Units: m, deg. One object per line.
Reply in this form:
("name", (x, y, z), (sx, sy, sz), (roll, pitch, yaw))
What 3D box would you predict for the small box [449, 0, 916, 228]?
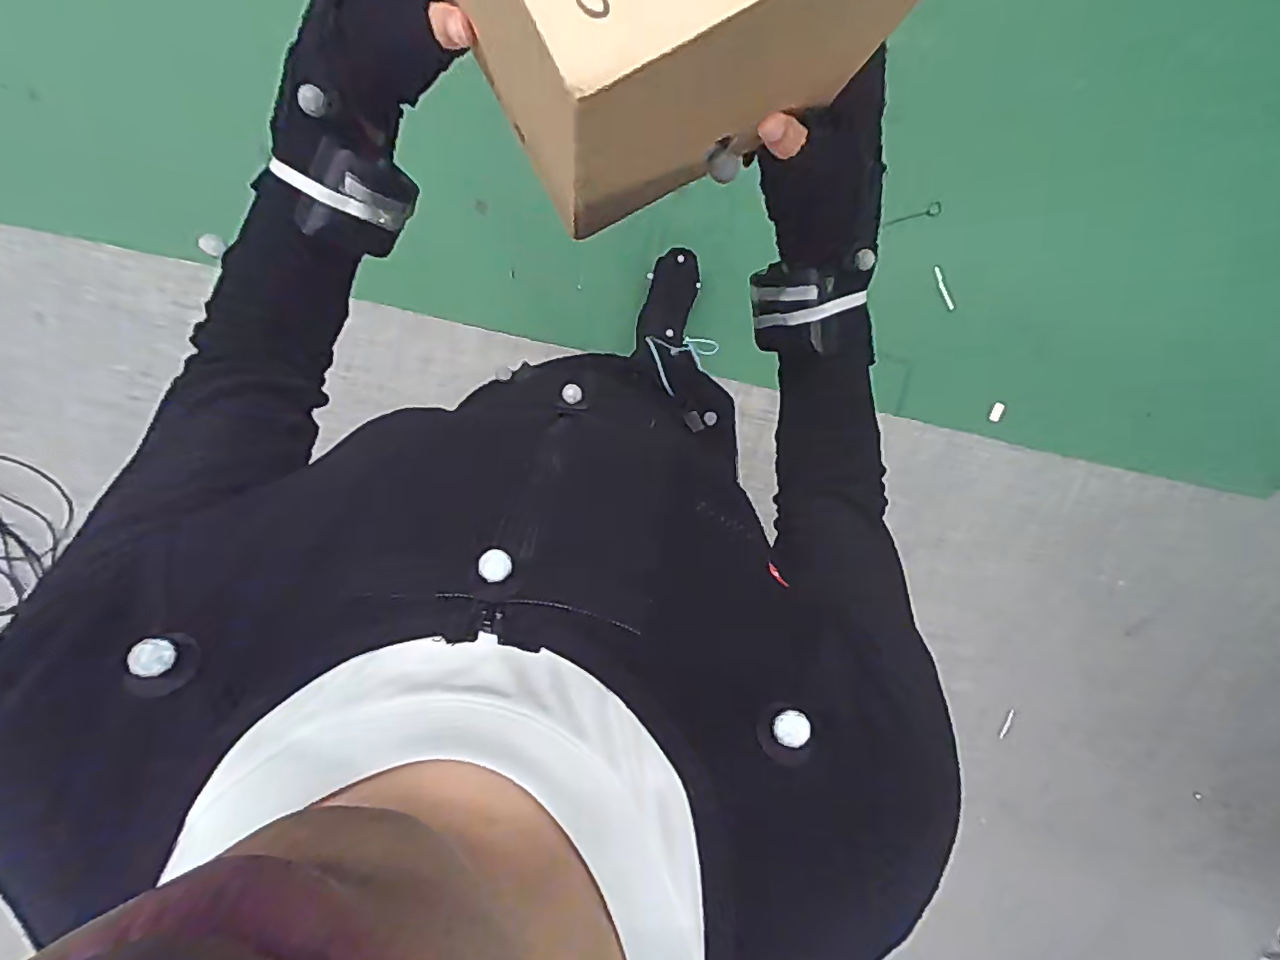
("small box", (0.009, -0.241, 0.231), (0.179, 0.176, 0.168), (-29, 102, -2))
